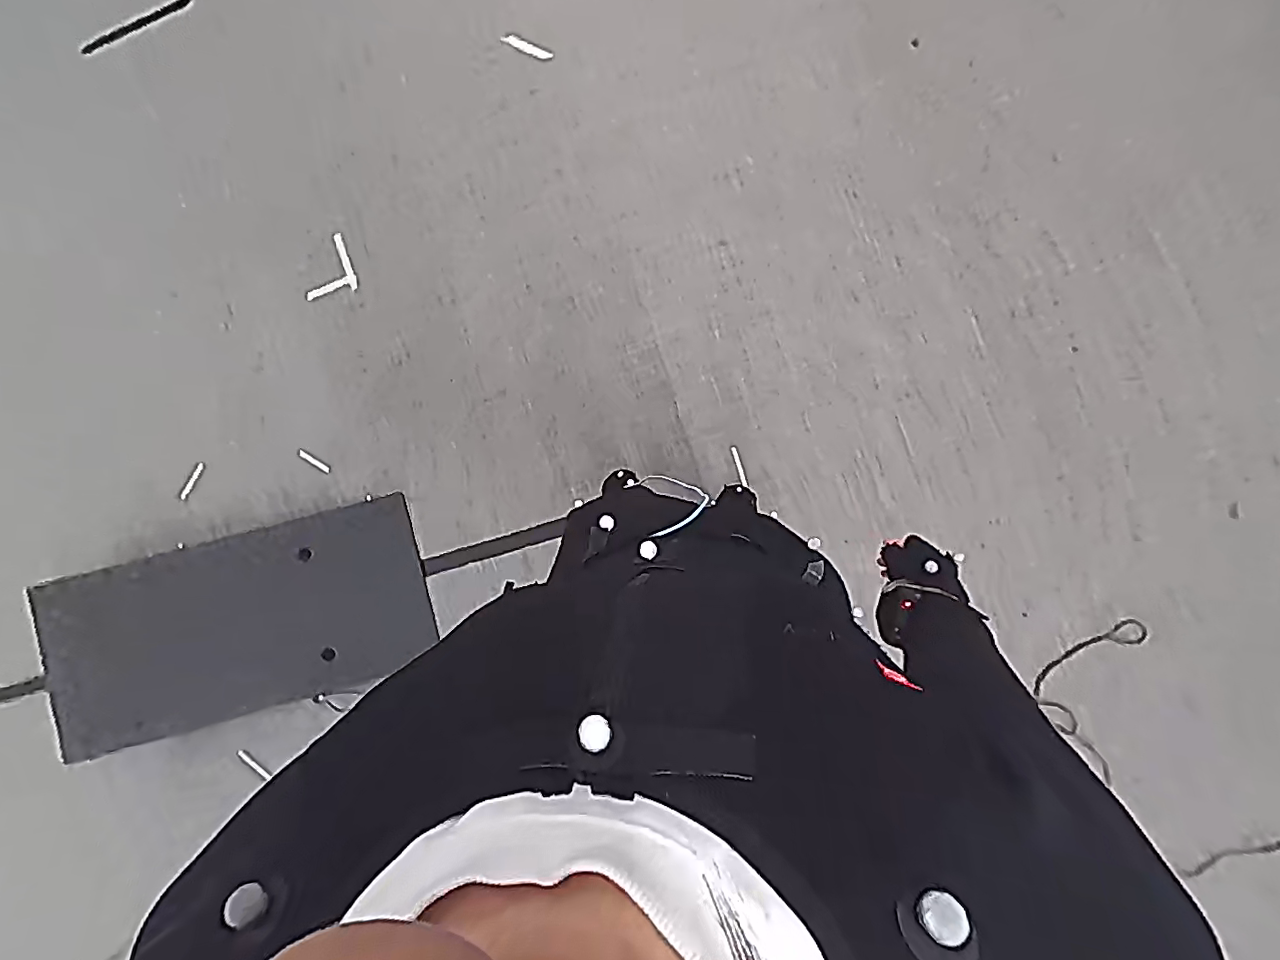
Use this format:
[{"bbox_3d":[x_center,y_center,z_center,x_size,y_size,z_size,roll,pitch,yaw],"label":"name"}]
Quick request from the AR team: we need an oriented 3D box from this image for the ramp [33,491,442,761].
[{"bbox_3d":[-1.092,0.384,1.487,0.991,0.206,0.509,-17,87,5],"label":"ramp"}]
